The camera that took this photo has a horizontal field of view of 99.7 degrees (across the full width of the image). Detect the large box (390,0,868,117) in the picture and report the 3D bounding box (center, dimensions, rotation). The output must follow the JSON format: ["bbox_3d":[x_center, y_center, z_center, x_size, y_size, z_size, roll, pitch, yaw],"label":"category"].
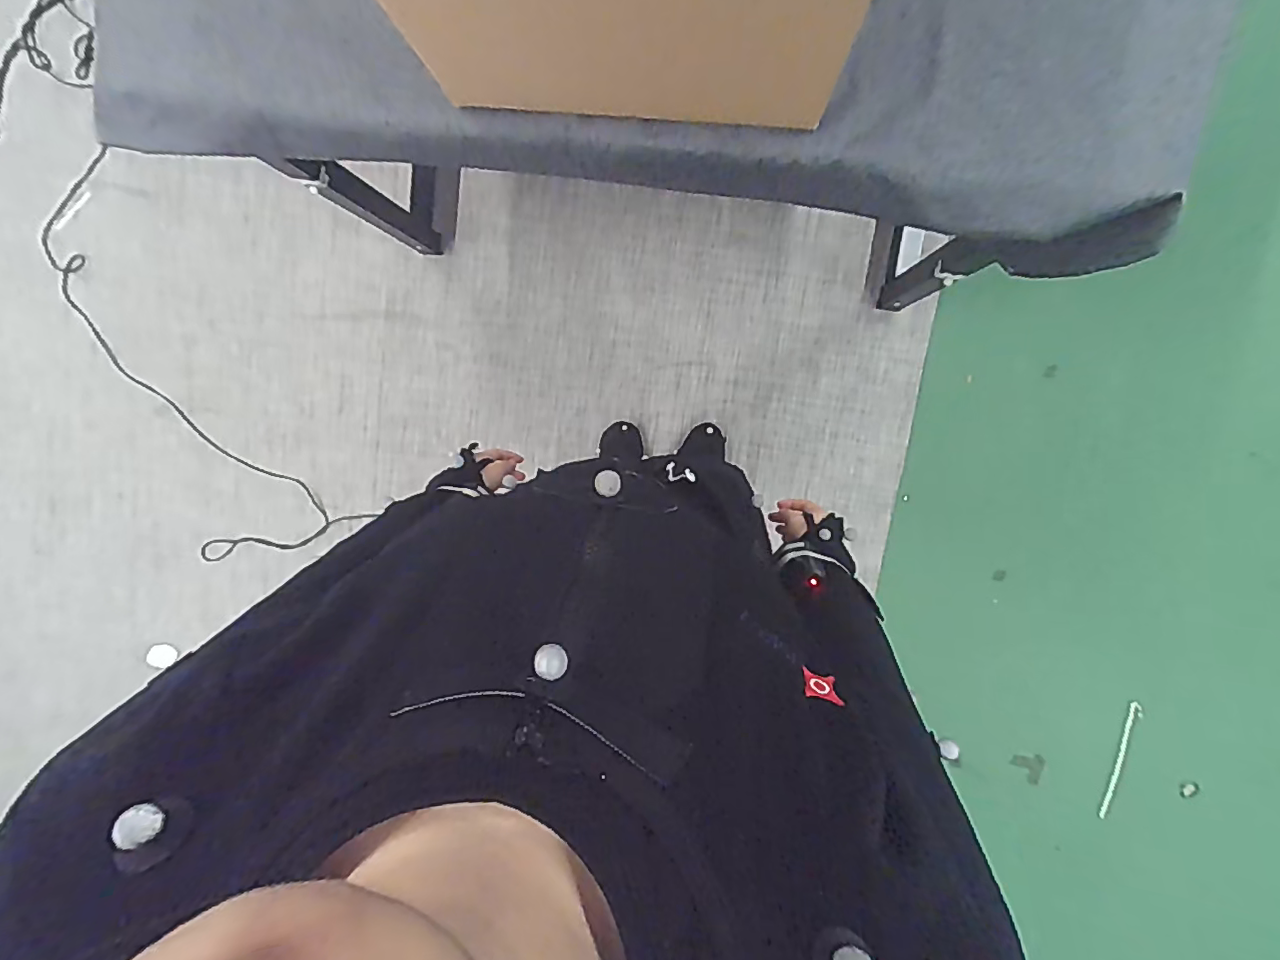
[{"bbox_3d":[-0.007,-0.536,0.427,0.408,0.320,0.320,6,96,4],"label":"large box"}]
